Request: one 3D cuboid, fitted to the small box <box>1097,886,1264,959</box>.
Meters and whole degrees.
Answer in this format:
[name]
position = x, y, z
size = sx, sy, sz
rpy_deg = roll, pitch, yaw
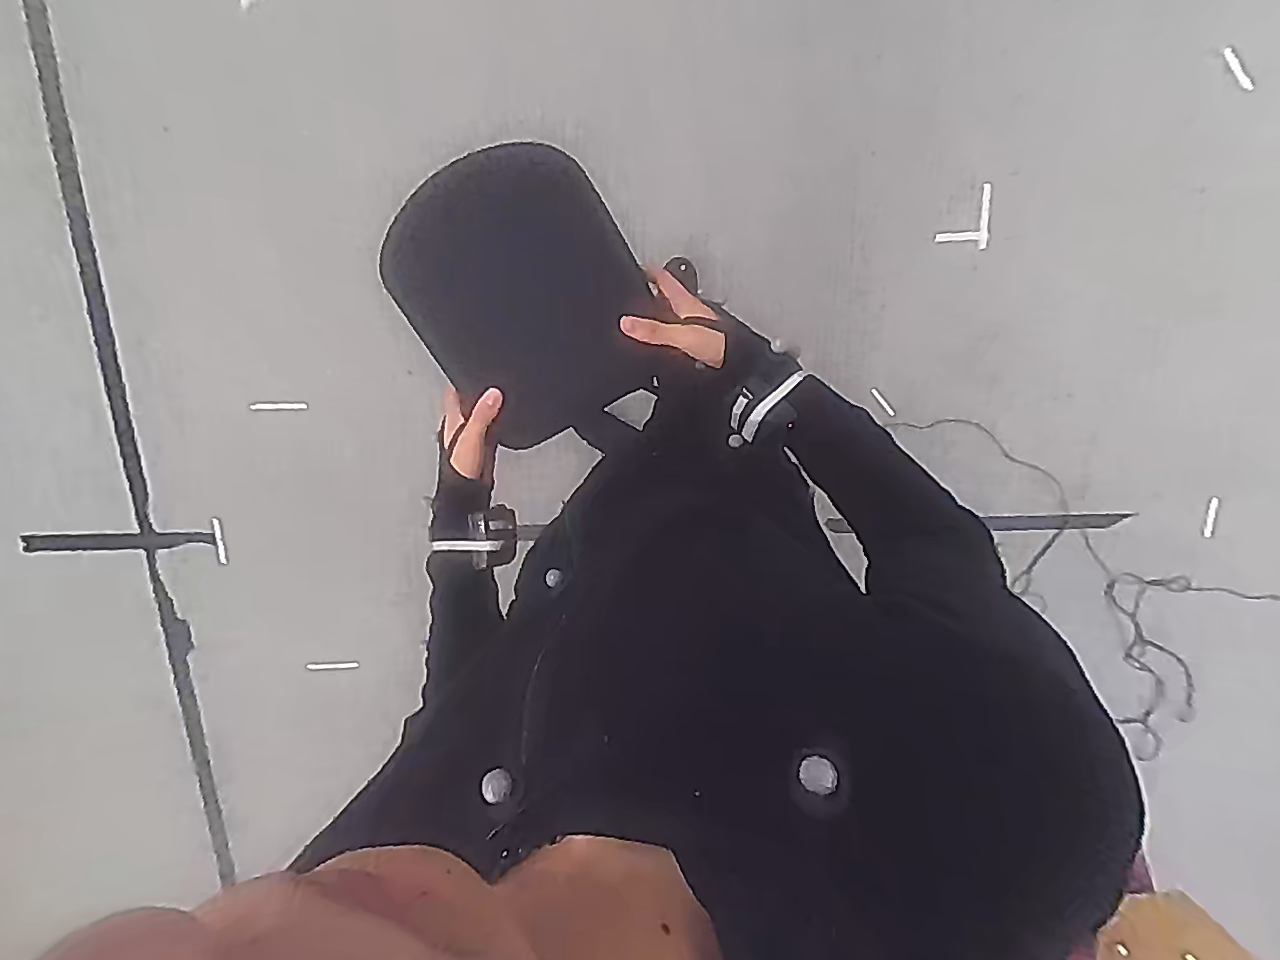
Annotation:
[small box]
position = 1.073, 0.951, 1.076
size = 0.179, 0.176, 0.168
rpy_deg = -4, 103, -2
